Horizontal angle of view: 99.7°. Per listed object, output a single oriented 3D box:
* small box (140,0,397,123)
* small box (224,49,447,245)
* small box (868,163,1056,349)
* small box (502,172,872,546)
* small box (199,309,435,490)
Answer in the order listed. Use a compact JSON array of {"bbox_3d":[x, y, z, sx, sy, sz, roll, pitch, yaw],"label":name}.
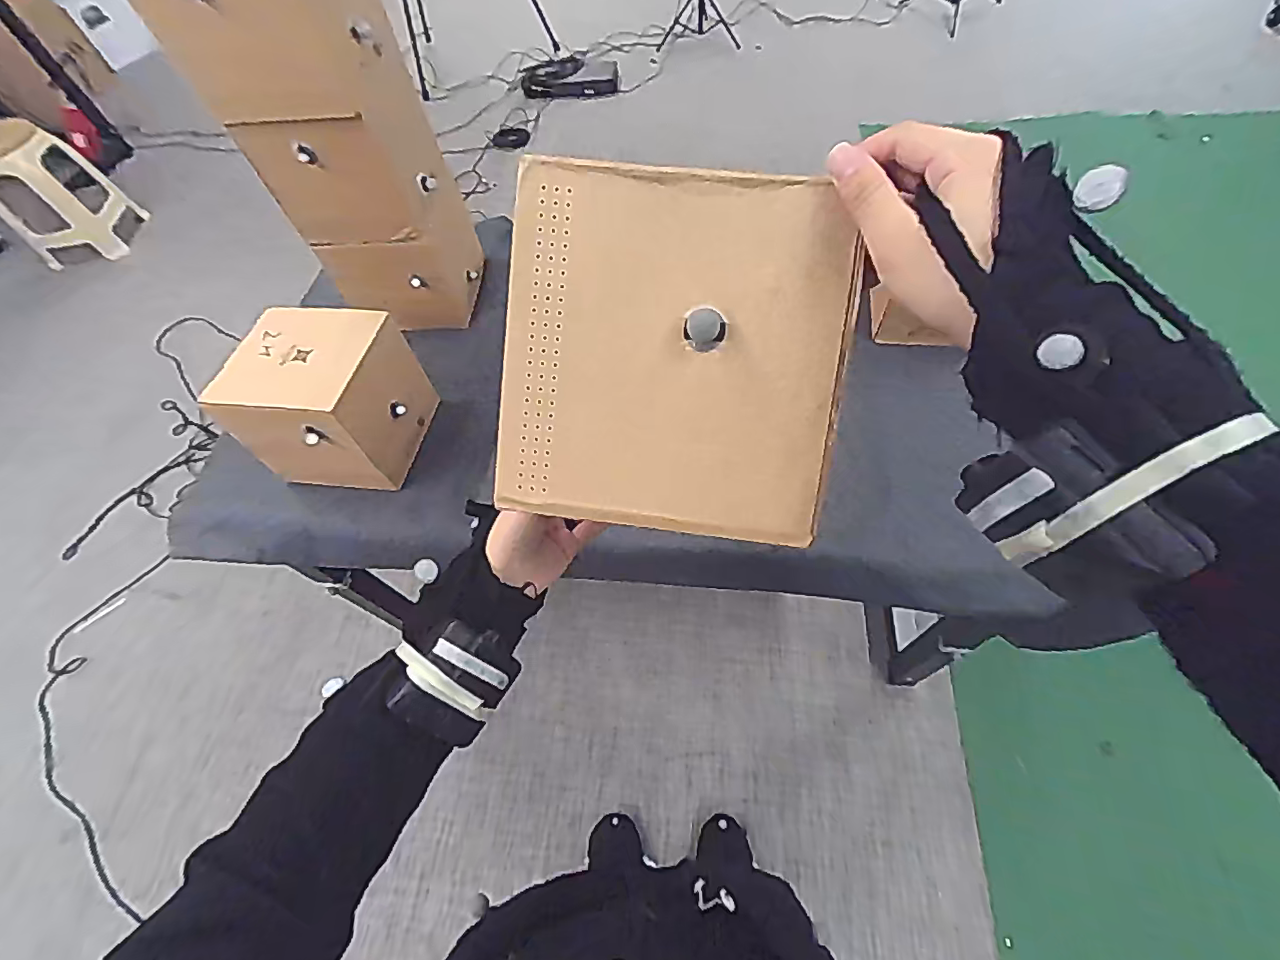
[{"bbox_3d":[-0.399,-0.511,0.579,0.179,0.176,0.168,2,62,6],"label":"small box"},{"bbox_3d":[-0.387,-0.437,0.726,0.179,0.176,0.168,0,62,5],"label":"small box"},{"bbox_3d":[0.423,-0.307,0.748,0.168,0.176,0.179,4,61,9],"label":"small box"},{"bbox_3d":[0.022,-0.070,0.342,0.176,0.168,0.179,8,99,5],"label":"small box"},{"bbox_3d":[-0.401,-0.100,0.711,0.179,0.176,0.168,4,57,9],"label":"small box"}]
